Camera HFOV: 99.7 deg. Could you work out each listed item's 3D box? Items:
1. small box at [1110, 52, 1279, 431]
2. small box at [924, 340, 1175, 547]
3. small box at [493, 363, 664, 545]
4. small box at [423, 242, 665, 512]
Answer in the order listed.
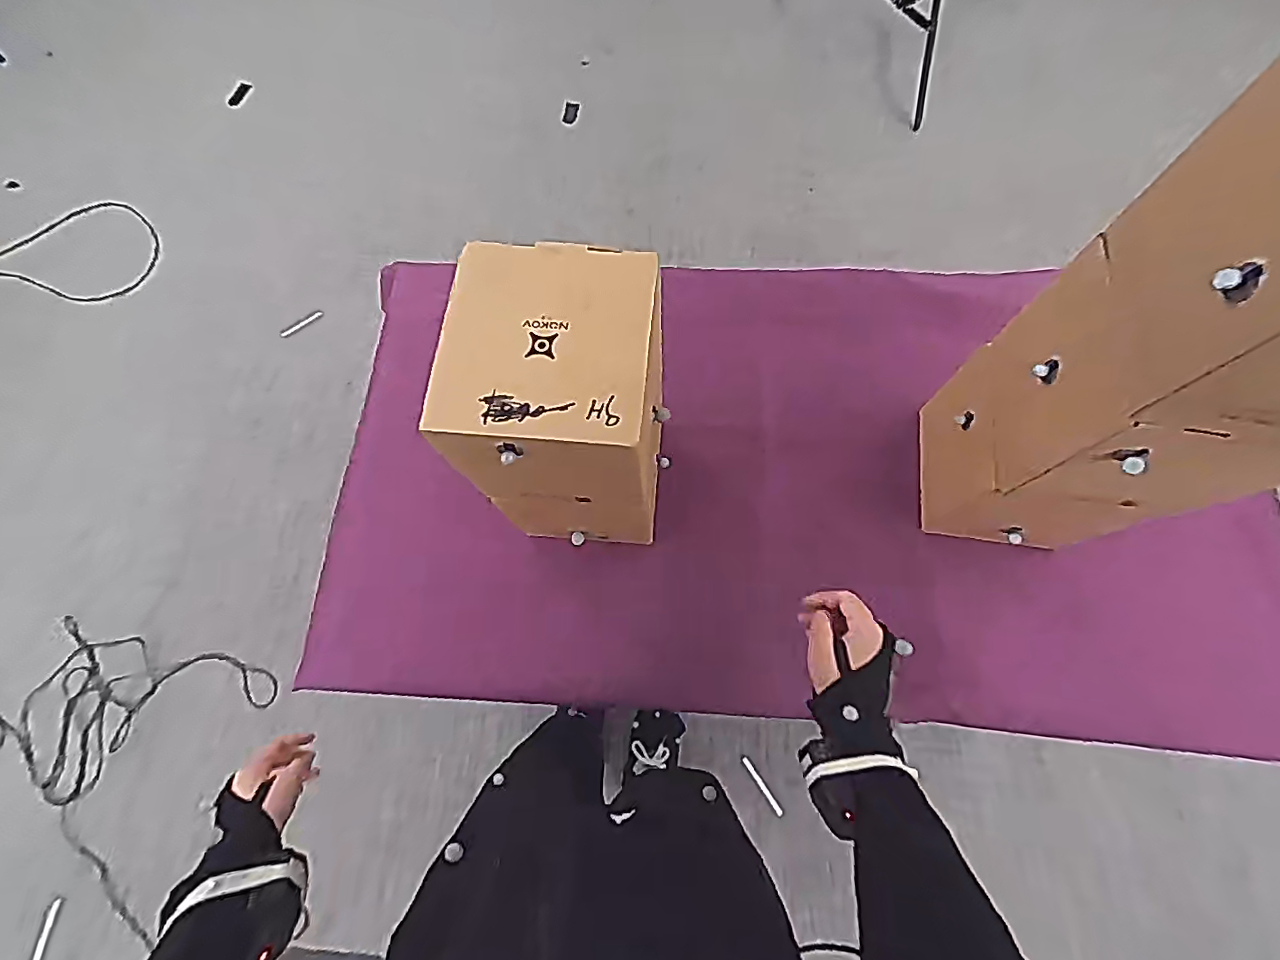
[{"bbox_3d":[0.429,-0.135,0.316,0.168,0.176,0.179,9,70,5],"label":"small box"},{"bbox_3d":[0.447,-0.034,0.626,0.168,0.176,0.179,7,71,6],"label":"small box"},{"bbox_3d":[-0.060,-0.030,0.648,0.168,0.176,0.179,4,72,4],"label":"small box"},{"bbox_3d":[-0.068,-0.084,0.493,0.168,0.176,0.179,5,71,4],"label":"small box"}]
